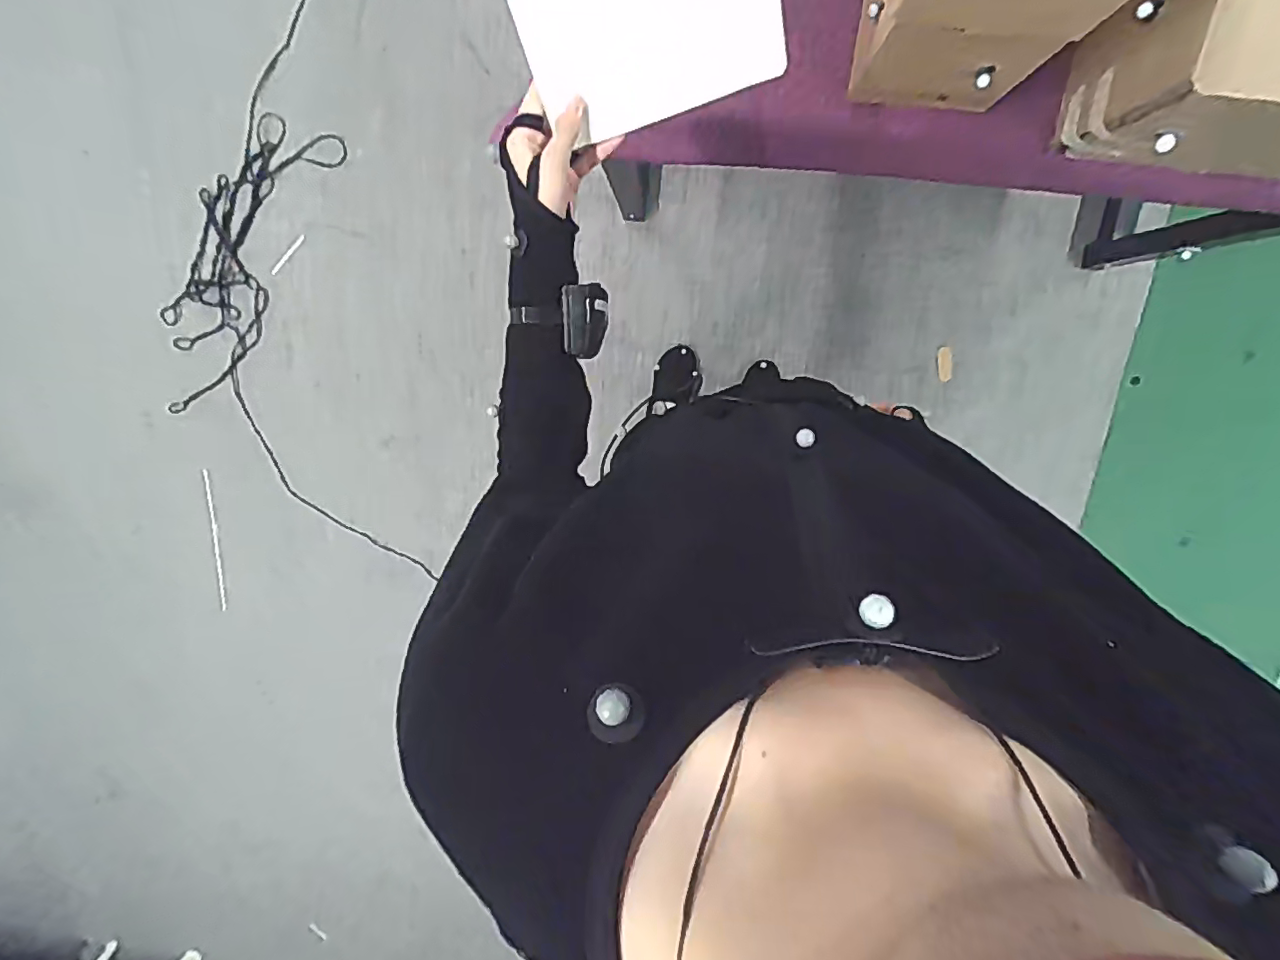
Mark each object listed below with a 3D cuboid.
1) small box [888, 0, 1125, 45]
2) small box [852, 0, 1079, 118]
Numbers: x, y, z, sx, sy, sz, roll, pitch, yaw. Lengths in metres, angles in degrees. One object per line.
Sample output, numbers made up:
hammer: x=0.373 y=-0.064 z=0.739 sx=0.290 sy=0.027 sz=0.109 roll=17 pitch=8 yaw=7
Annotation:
small box: x=0.316 y=-0.464 z=0.400 sx=0.179 sy=0.176 sz=0.168 roll=8 pitch=102 yaw=2
small box: x=0.335 y=-0.508 z=0.557 sx=0.168 sy=0.176 sz=0.179 roll=8 pitch=101 yaw=2
